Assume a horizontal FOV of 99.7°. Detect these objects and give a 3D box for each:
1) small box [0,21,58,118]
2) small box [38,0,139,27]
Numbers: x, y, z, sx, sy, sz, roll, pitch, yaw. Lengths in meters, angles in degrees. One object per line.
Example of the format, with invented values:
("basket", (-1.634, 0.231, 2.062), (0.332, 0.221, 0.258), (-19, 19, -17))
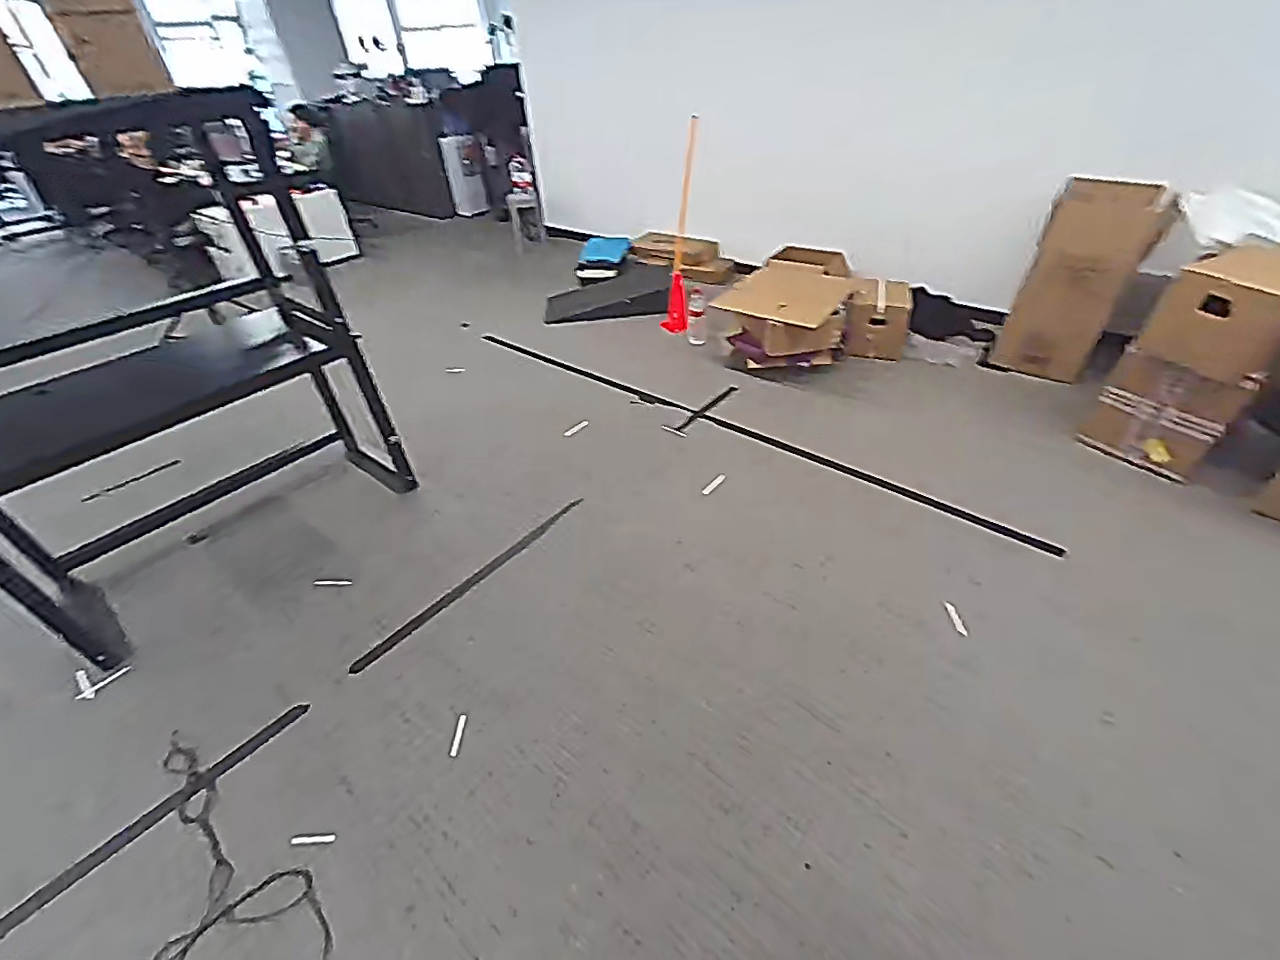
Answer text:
("small box", (-1.536, -0.960, 1.274), (0.179, 0.176, 0.168), (27, 49, 35))
("small box", (-1.363, -1.213, 1.304), (0.168, 0.176, 0.179), (25, 49, 35))
